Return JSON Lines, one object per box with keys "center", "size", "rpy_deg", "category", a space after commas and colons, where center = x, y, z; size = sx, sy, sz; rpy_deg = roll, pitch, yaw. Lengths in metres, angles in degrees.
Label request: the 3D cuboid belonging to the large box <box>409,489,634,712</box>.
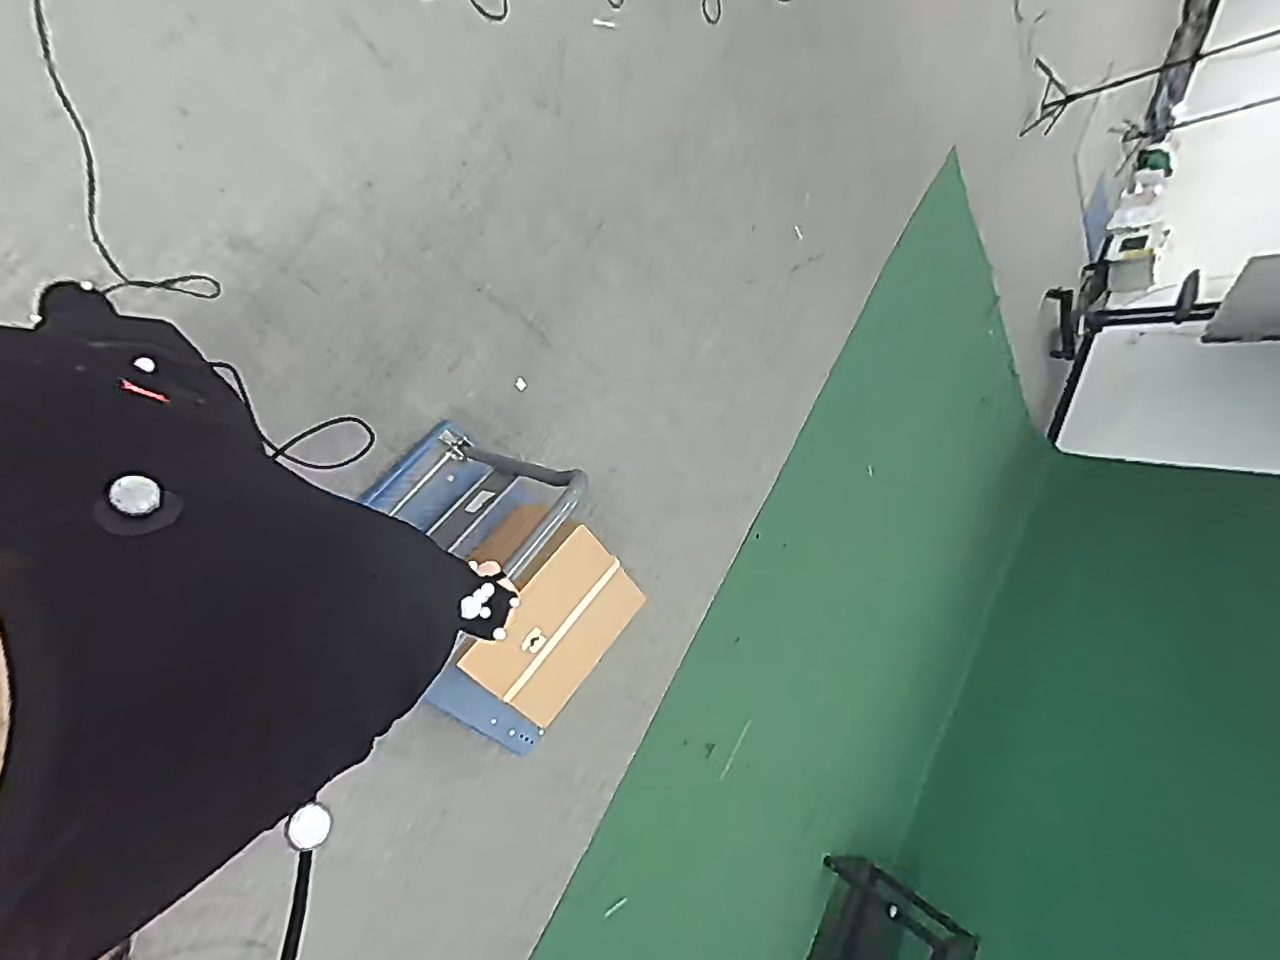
{"center": [-0.297, 0.286, 1.385], "size": [0.408, 0.320, 0.320], "rpy_deg": [-49, 124, -20], "category": "large box"}
